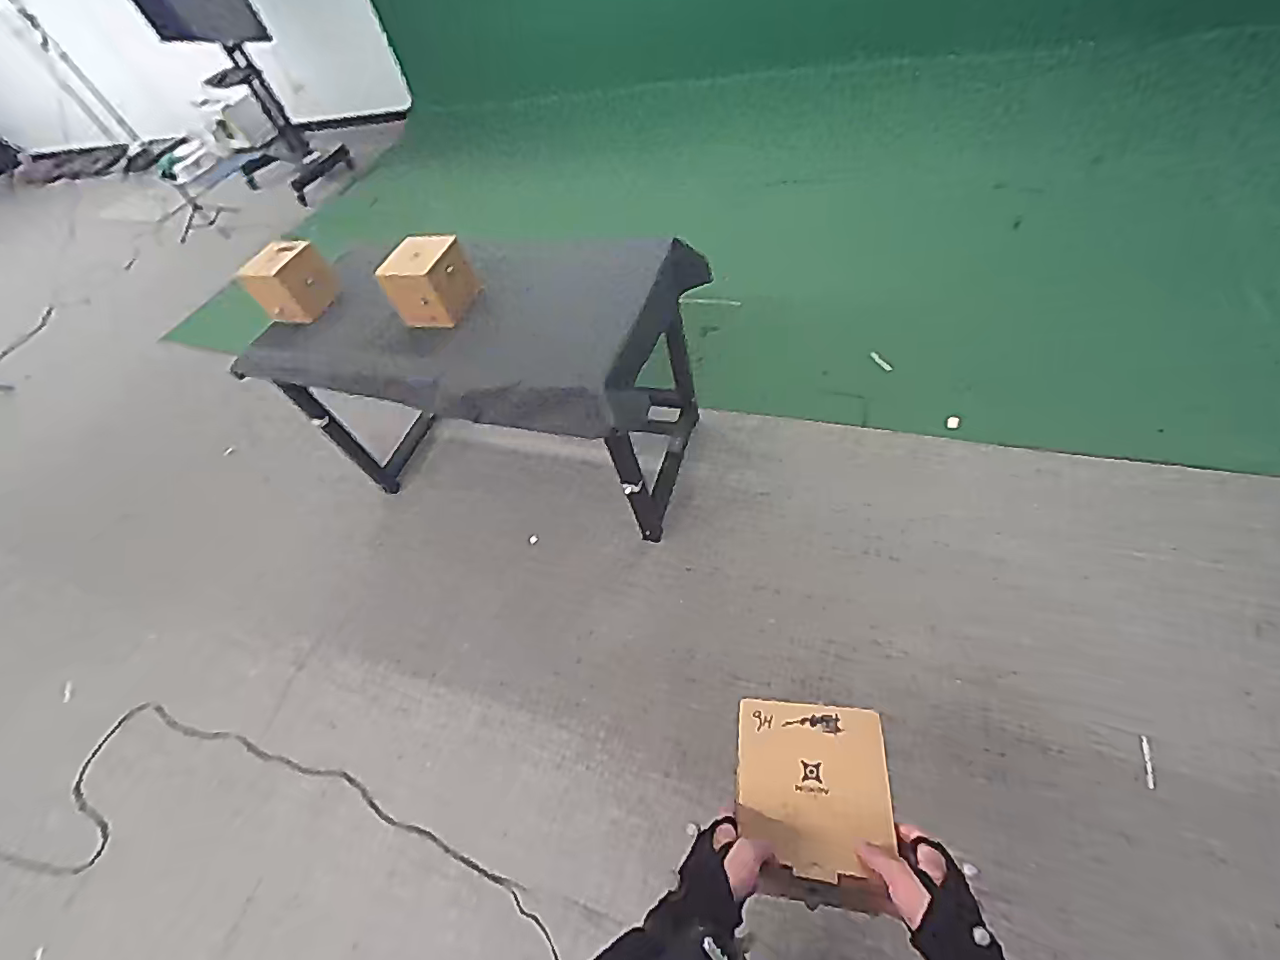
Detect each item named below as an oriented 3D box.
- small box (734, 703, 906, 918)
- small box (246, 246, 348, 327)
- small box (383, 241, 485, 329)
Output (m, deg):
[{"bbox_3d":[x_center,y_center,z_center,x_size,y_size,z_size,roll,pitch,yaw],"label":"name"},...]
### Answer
[{"bbox_3d":[0.205,0.391,0.642,0.168,0.176,0.179,-1,45,14],"label":"small box"},{"bbox_3d":[-1.042,-0.598,1.665,0.168,0.176,0.179,8,55,20],"label":"small box"},{"bbox_3d":[-0.557,-0.535,1.493,0.168,0.176,0.179,8,54,19],"label":"small box"}]
